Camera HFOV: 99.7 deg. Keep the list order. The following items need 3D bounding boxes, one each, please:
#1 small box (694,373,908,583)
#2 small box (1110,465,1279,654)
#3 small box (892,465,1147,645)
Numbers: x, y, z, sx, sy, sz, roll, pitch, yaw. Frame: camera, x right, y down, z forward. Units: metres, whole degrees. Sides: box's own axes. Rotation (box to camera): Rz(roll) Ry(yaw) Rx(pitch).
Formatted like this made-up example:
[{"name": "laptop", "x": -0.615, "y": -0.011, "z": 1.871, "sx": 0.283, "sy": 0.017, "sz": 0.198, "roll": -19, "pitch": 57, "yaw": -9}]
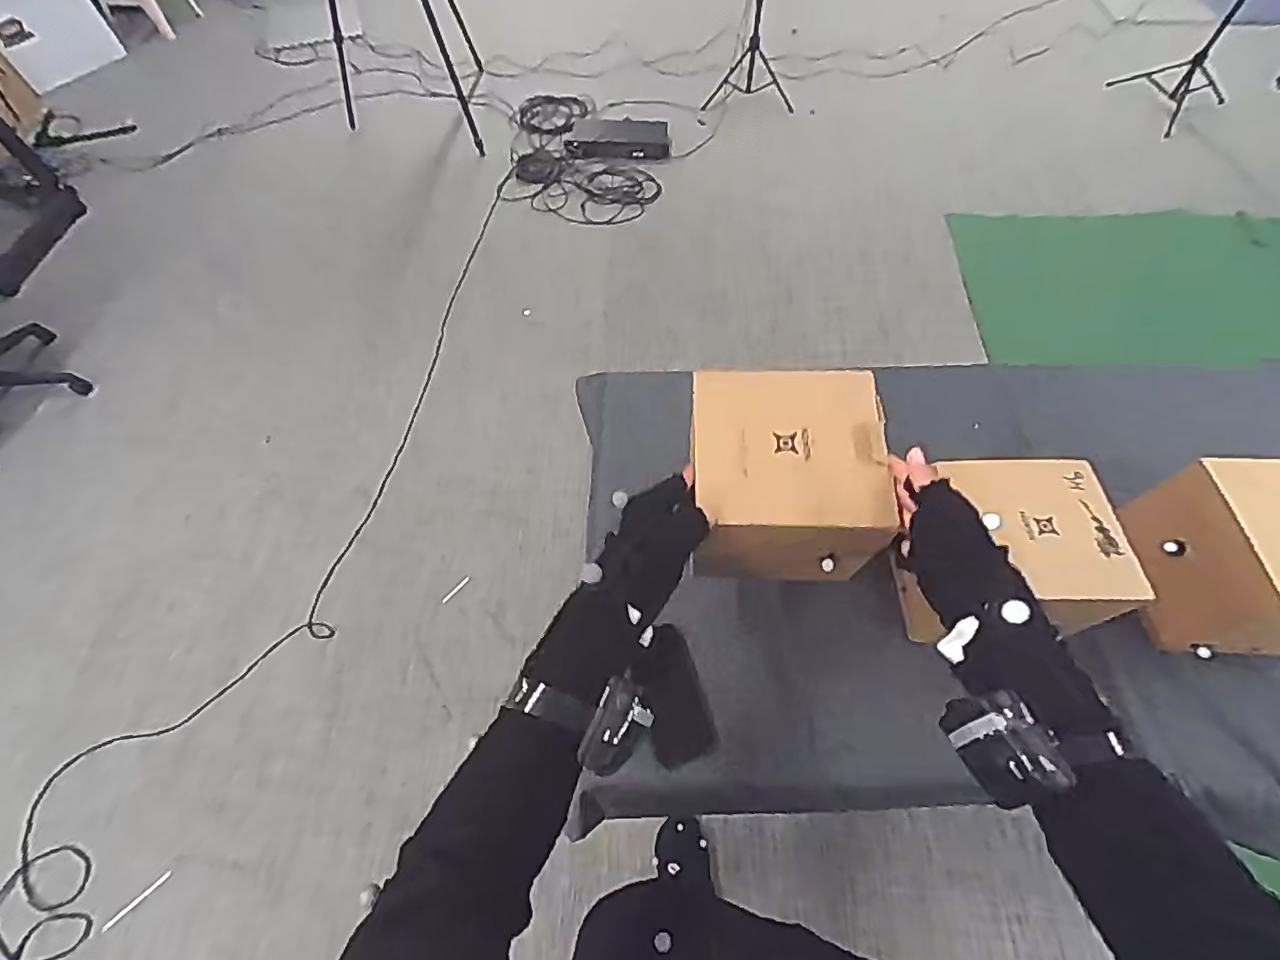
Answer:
[{"name": "small box", "x": 0.148, "y": 0.005, "z": 0.568, "sx": 0.179, "sy": 0.176, "sz": 0.168, "roll": -1, "pitch": 63, "yaw": 4}, {"name": "small box", "x": 0.711, "y": 0.100, "z": 0.641, "sx": 0.168, "sy": 0.176, "sz": 0.179, "roll": 1, "pitch": 58, "yaw": 2}, {"name": "small box", "x": 0.425, "y": 0.096, "z": 0.652, "sx": 0.179, "sy": 0.176, "sz": 0.168, "roll": -1, "pitch": 59, "yaw": 2}]
